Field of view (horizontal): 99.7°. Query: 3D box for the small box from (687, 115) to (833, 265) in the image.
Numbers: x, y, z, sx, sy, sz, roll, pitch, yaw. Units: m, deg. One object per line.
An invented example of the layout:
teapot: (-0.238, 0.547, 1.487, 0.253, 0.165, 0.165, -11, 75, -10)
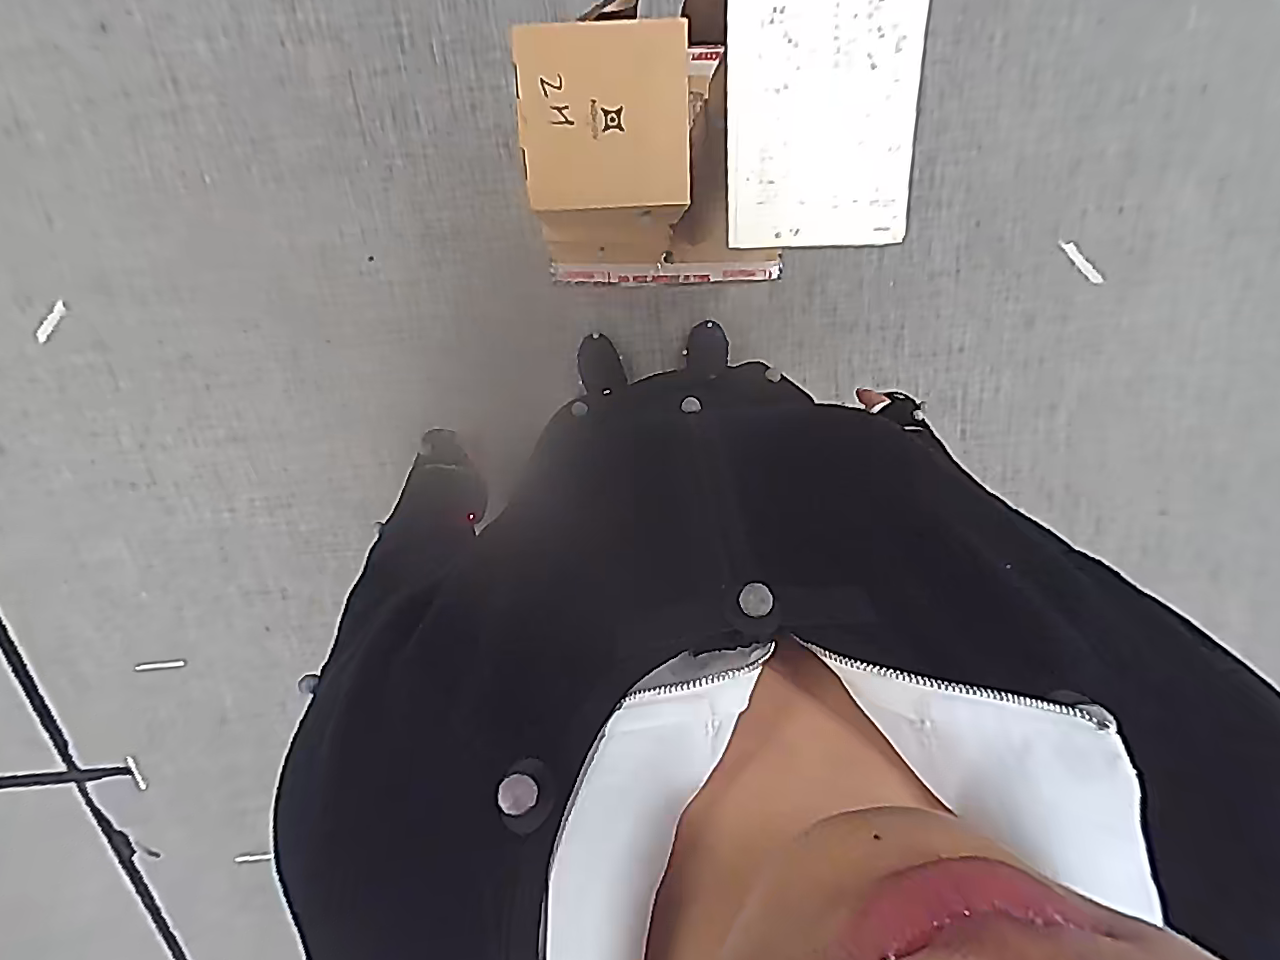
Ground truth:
small box: (0.174, -0.424, 0.814, 0.179, 0.176, 0.168, -7, 108, 0)

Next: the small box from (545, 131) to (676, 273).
small box: (-0.042, -0.405, 0.813, 0.179, 0.176, 0.168, 2, 109, 0)
